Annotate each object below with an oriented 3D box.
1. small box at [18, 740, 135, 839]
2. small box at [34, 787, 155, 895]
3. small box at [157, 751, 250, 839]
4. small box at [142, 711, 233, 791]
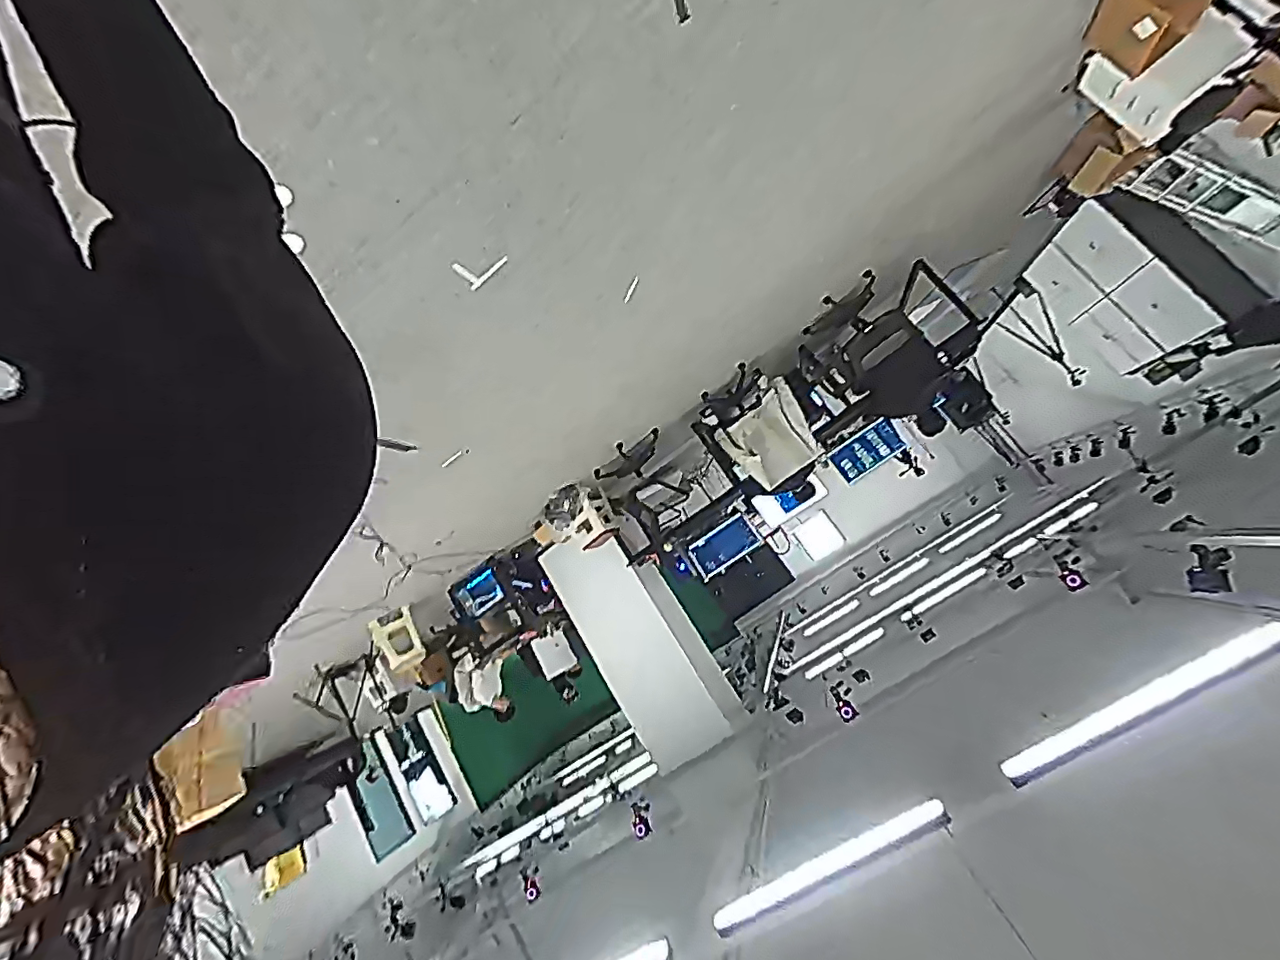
[{"bbox_3d":[-1.666,0.905,1.599,0.168,0.176,0.179,-37,165,12],"label":"small box"},{"bbox_3d":[-1.569,1.028,1.558,0.168,0.176,0.179,-37,164,10],"label":"small box"},{"bbox_3d":[-1.494,1.067,1.846,0.168,0.176,0.179,-37,165,16],"label":"small box"},{"bbox_3d":[-1.577,0.930,1.879,0.179,0.176,0.168,-36,166,14],"label":"small box"}]
